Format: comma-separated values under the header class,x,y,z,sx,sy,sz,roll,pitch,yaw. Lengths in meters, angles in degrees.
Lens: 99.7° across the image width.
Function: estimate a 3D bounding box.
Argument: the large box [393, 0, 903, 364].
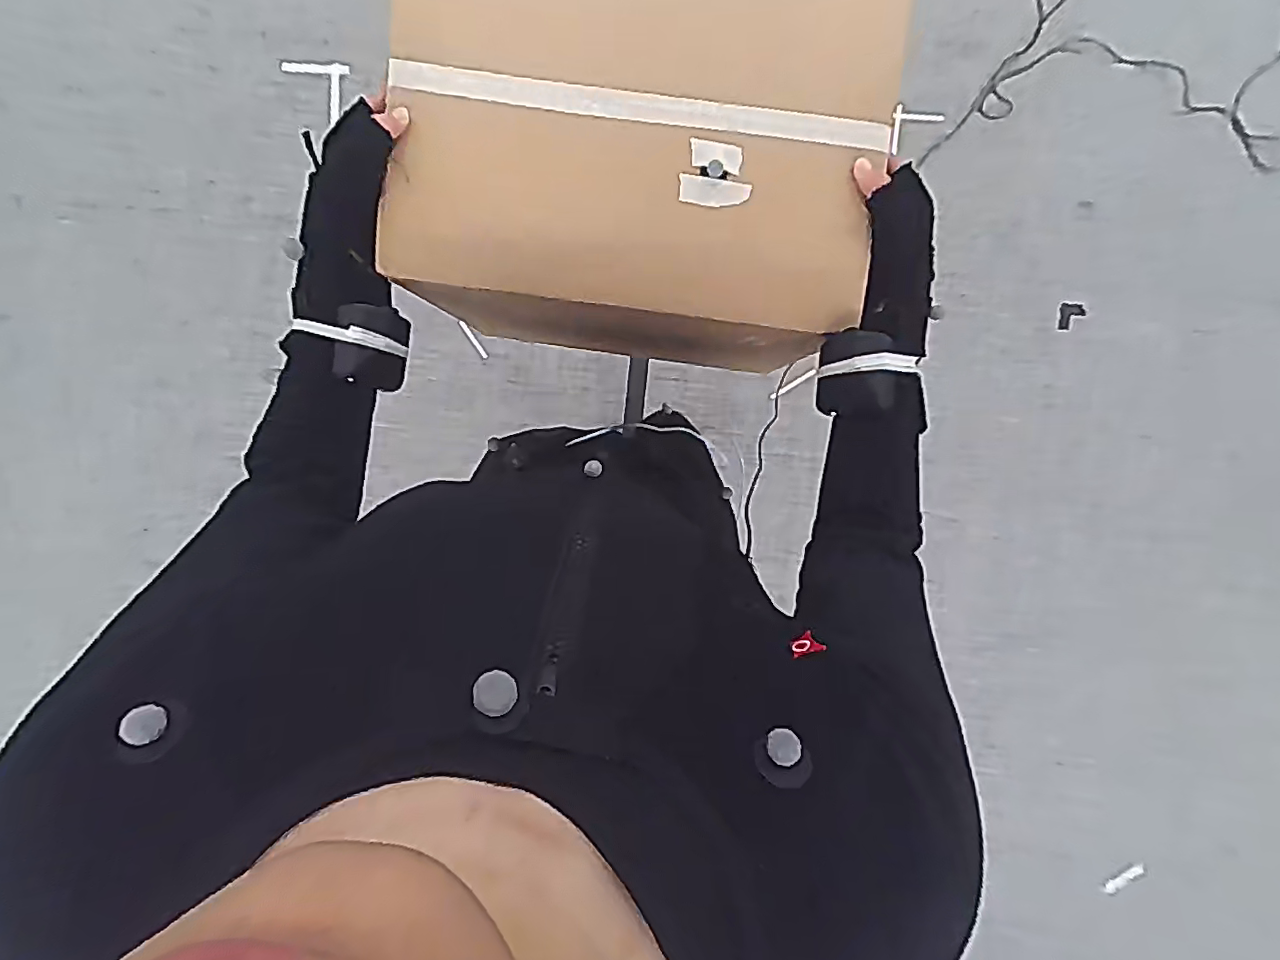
class,x,y,z,sx,sy,sz,roll,pitch,yaw
large box,0.000,-0.317,0.592,0.408,0.320,0.320,7,97,-1
